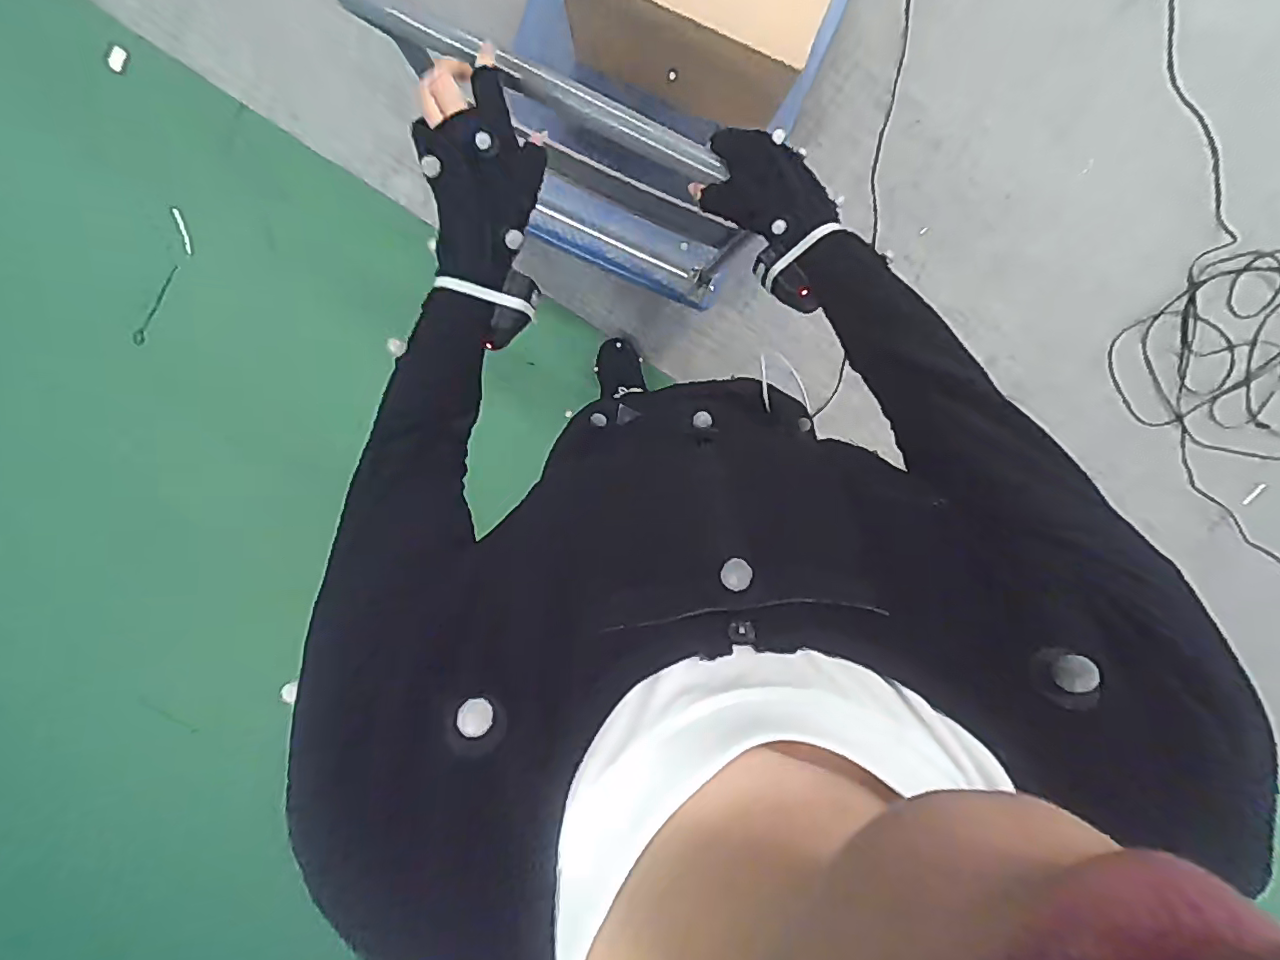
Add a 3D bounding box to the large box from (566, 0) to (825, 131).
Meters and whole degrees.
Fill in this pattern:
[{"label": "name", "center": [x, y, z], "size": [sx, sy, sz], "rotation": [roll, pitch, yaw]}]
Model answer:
[{"label": "large box", "center": [0.114, -0.881, 0.925], "size": [0.408, 0.320, 0.320], "rotation": [20, 103, -6]}]
